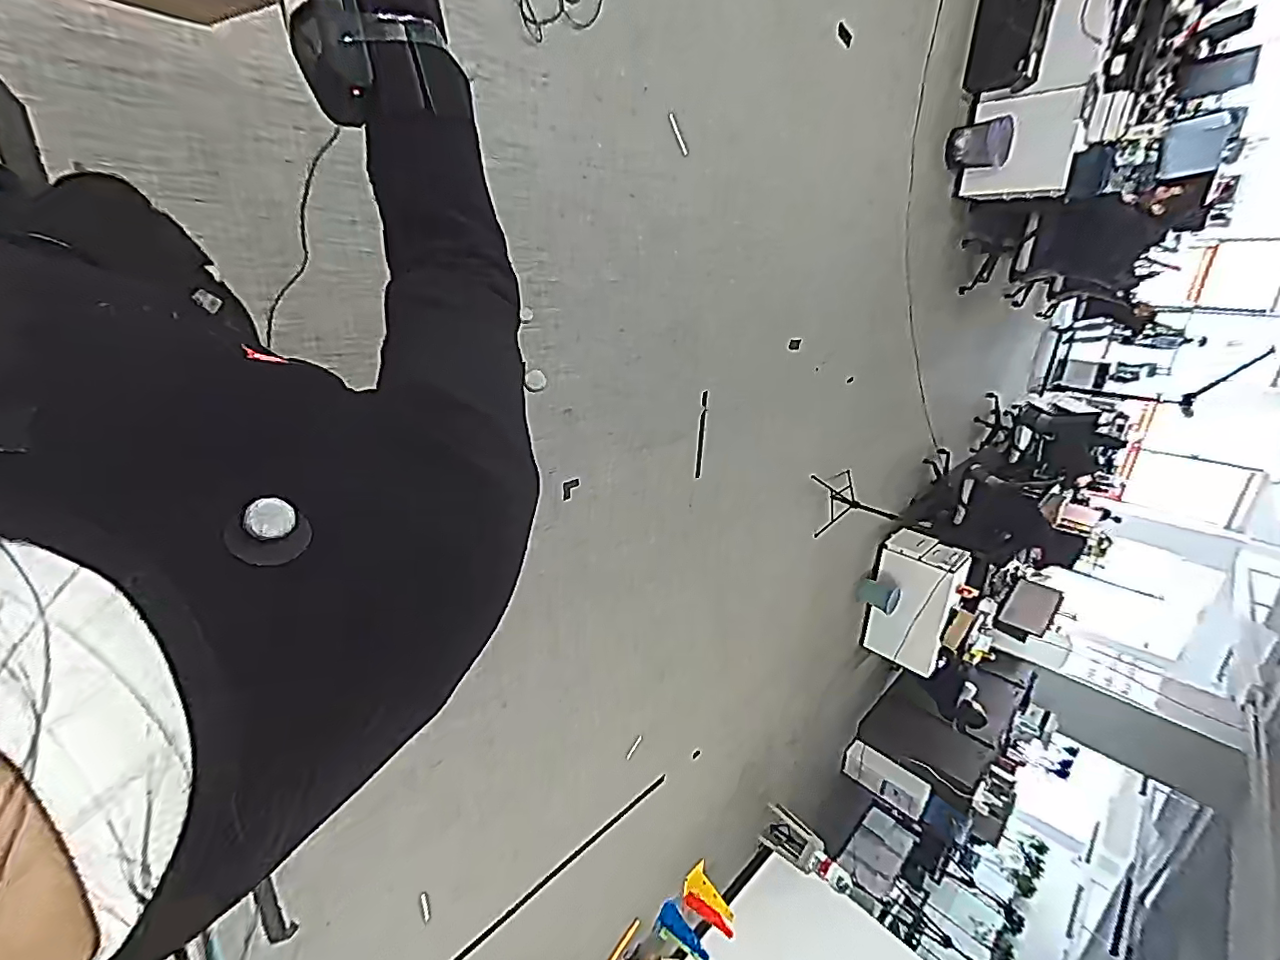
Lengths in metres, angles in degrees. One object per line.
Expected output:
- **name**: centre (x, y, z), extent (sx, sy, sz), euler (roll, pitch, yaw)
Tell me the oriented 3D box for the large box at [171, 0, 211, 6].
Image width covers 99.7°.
- **large box**: centre (-0.432, -0.465, 0.222), extent (0.408, 0.320, 0.320), euler (-16, 129, -41)
